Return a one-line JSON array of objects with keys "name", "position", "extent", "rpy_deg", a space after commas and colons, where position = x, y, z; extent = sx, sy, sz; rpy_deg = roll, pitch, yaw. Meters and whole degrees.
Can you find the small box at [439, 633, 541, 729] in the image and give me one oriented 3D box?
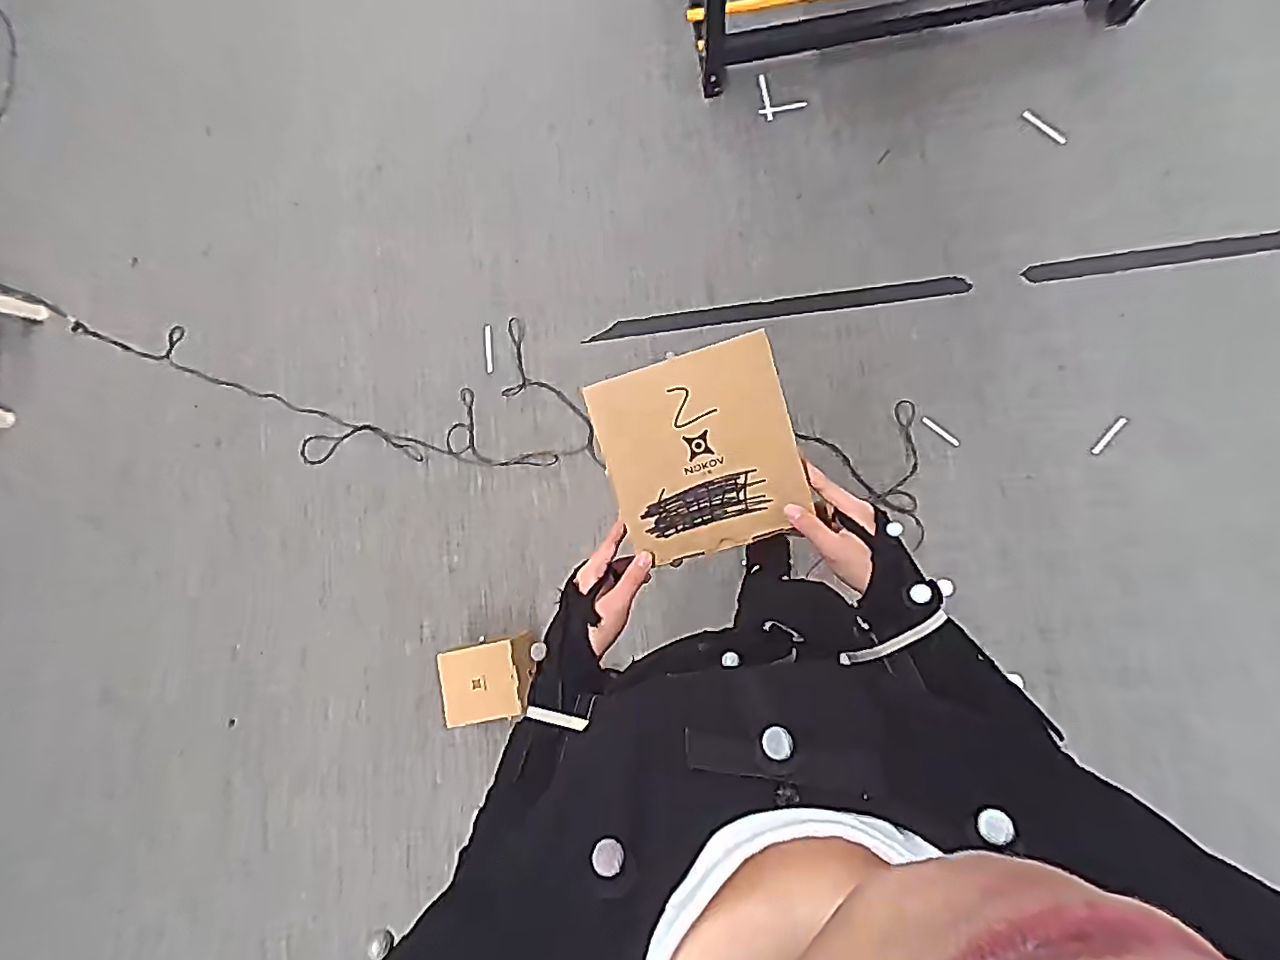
[{"name": "small box", "position": [-0.351, 0.471, 1.288], "extent": [0.179, 0.176, 0.168], "rpy_deg": [-13, 80, 2]}]
